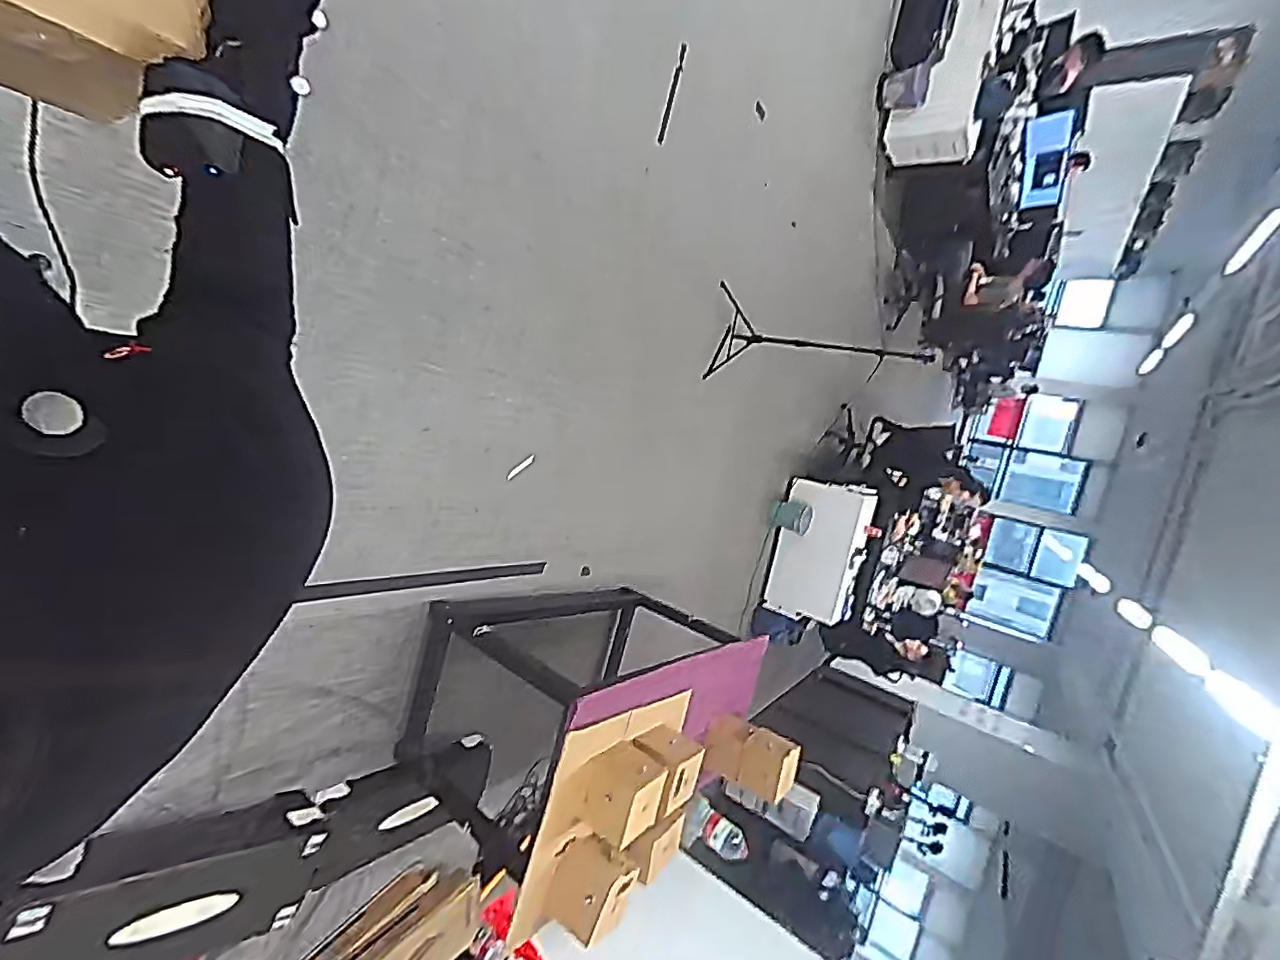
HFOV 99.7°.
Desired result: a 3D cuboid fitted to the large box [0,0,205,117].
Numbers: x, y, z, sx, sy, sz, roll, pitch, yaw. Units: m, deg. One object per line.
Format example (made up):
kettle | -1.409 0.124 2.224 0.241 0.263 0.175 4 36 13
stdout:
large box | -0.532 -0.480 0.302 0.408 0.320 0.320 0 107 -56
